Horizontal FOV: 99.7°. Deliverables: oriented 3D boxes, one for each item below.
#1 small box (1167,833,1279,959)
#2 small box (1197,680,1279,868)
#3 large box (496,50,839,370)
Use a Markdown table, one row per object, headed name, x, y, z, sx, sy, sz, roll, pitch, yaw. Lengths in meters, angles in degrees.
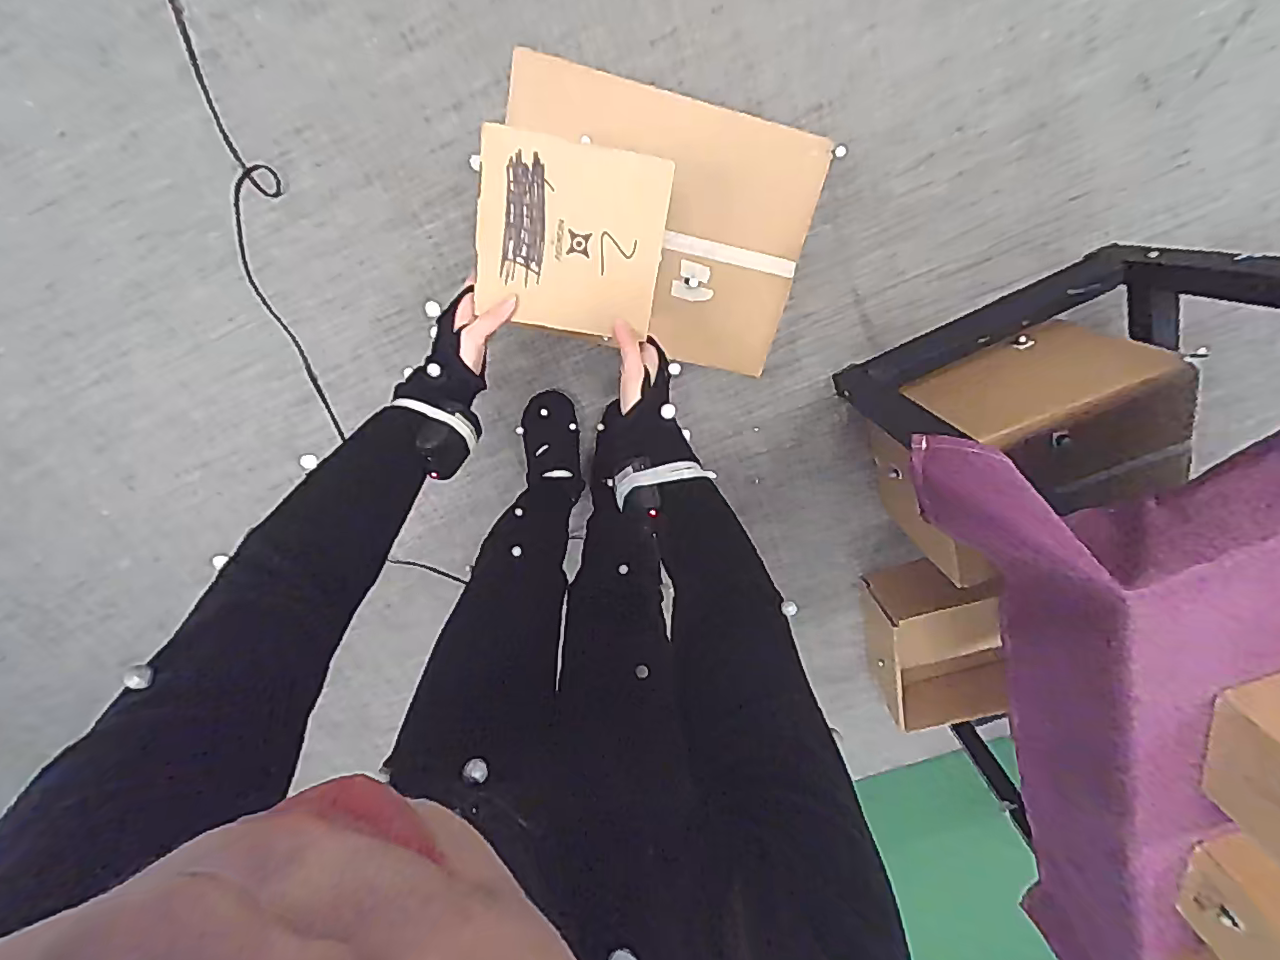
| name | x | y | z | sx | sy | sz | roll | pitch | yaw |
| --- | --- | --- | --- | --- | --- | --- | --- | --- | --- |
| small box | 0.793 | 0.534 | 0.633 | 0.179 | 0.176 | 0.168 | -16 | 117 | 5 |
| small box | 0.679 | 0.295 | 0.498 | 0.168 | 0.176 | 0.179 | -20 | 116 | 7 |
| large box | 0.013 | -0.394 | 0.840 | 0.408 | 0.320 | 0.320 | 10 | 117 | -10 |
